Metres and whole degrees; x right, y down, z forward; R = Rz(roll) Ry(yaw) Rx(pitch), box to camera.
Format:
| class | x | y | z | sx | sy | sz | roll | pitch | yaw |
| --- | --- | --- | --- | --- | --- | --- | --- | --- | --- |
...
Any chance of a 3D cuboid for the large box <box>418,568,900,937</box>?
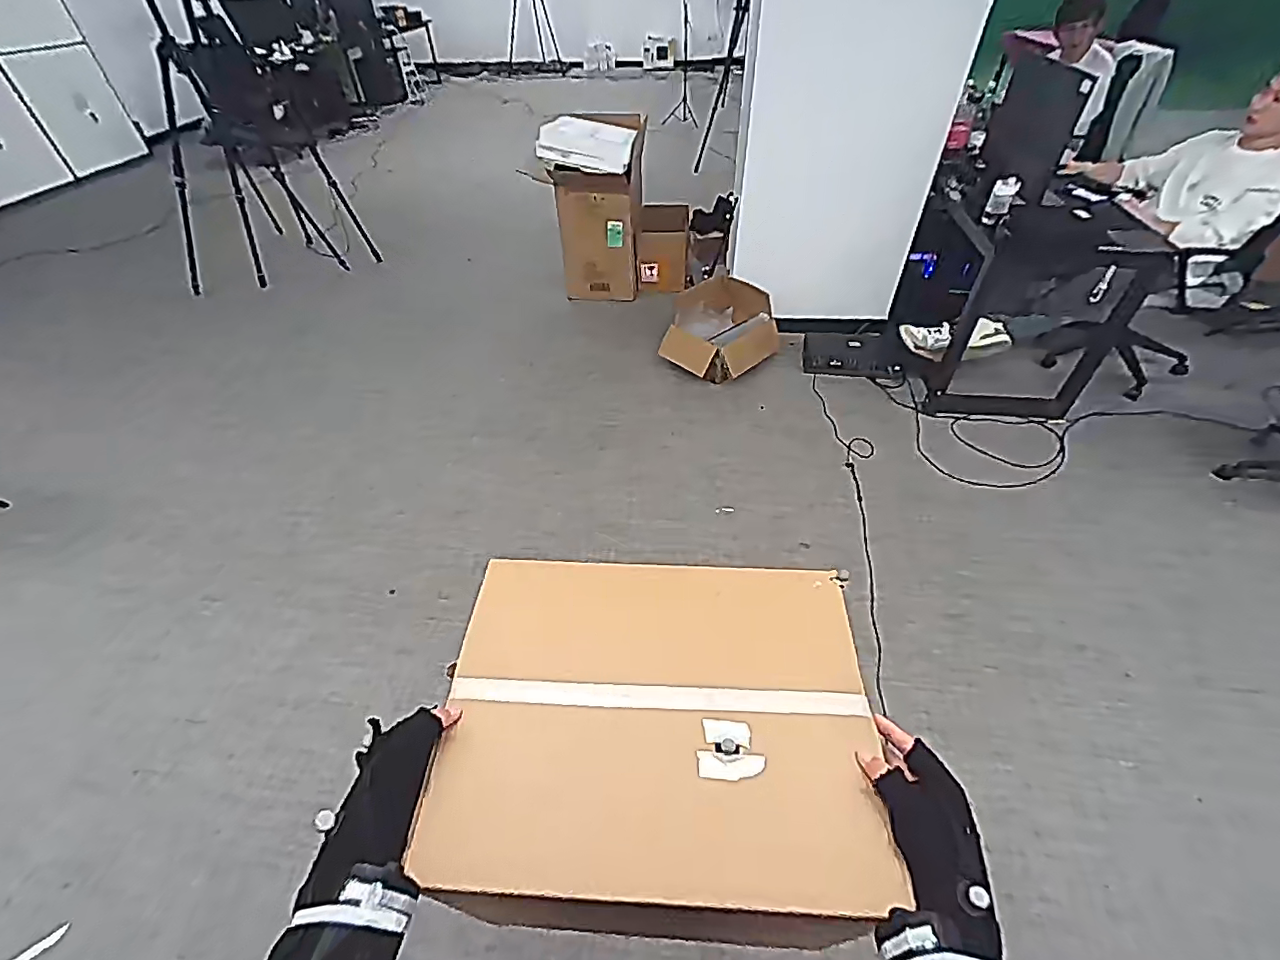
| class | x | y | z | sx | sy | sz | roll | pitch | yaw |
| --- | --- | --- | --- | --- | --- | --- | --- | --- | --- |
| large box | 0.019 | 0.325 | 0.647 | 0.408 | 0.320 | 0.320 | 2 | 47 | 3 |
